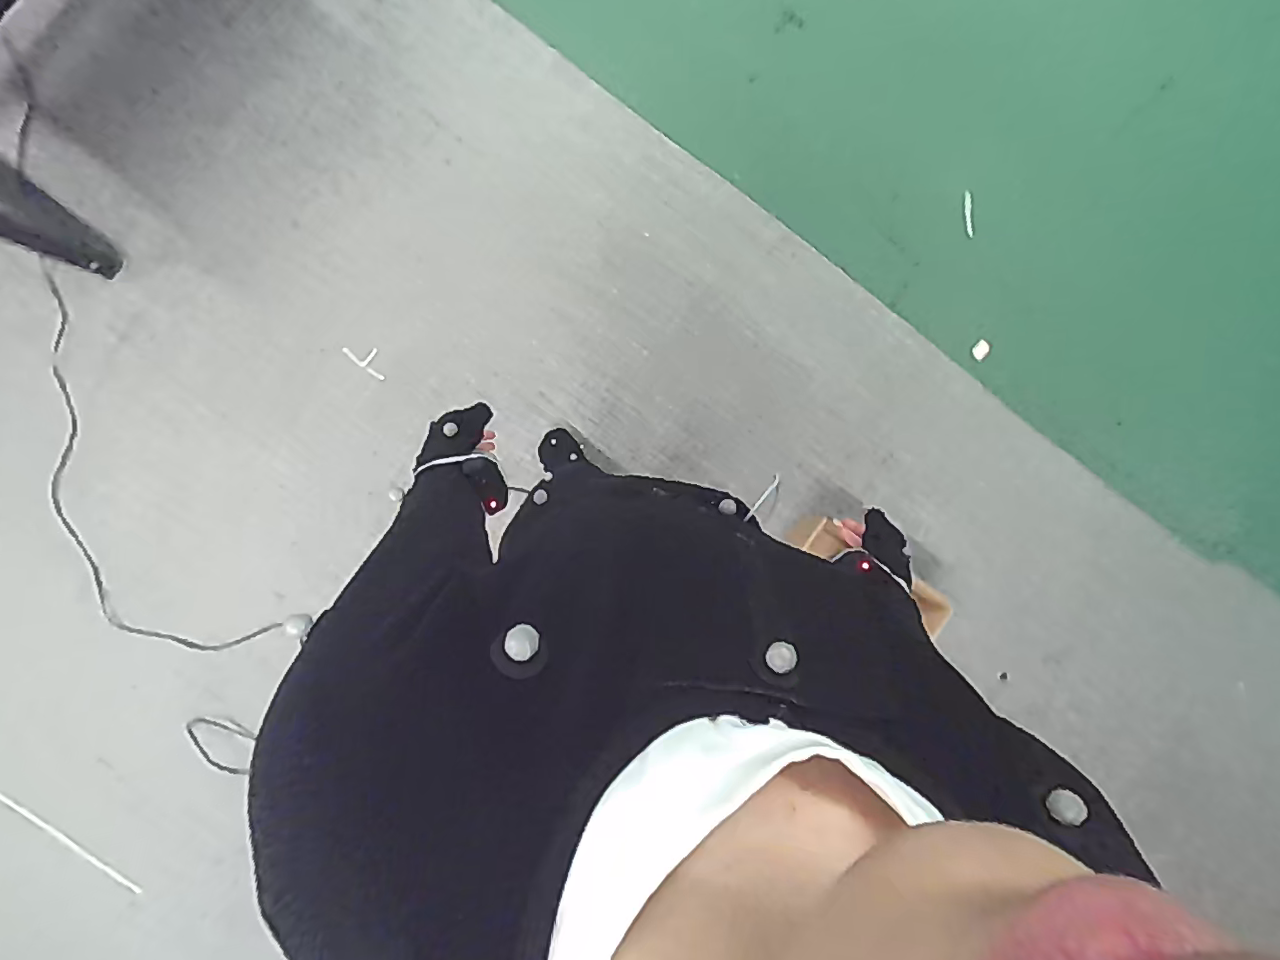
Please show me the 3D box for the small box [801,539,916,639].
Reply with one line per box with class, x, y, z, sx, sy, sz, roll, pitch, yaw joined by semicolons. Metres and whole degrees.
small box;0.539;0.263;1.360;0.179;0.176;0.168;33;91;-2
